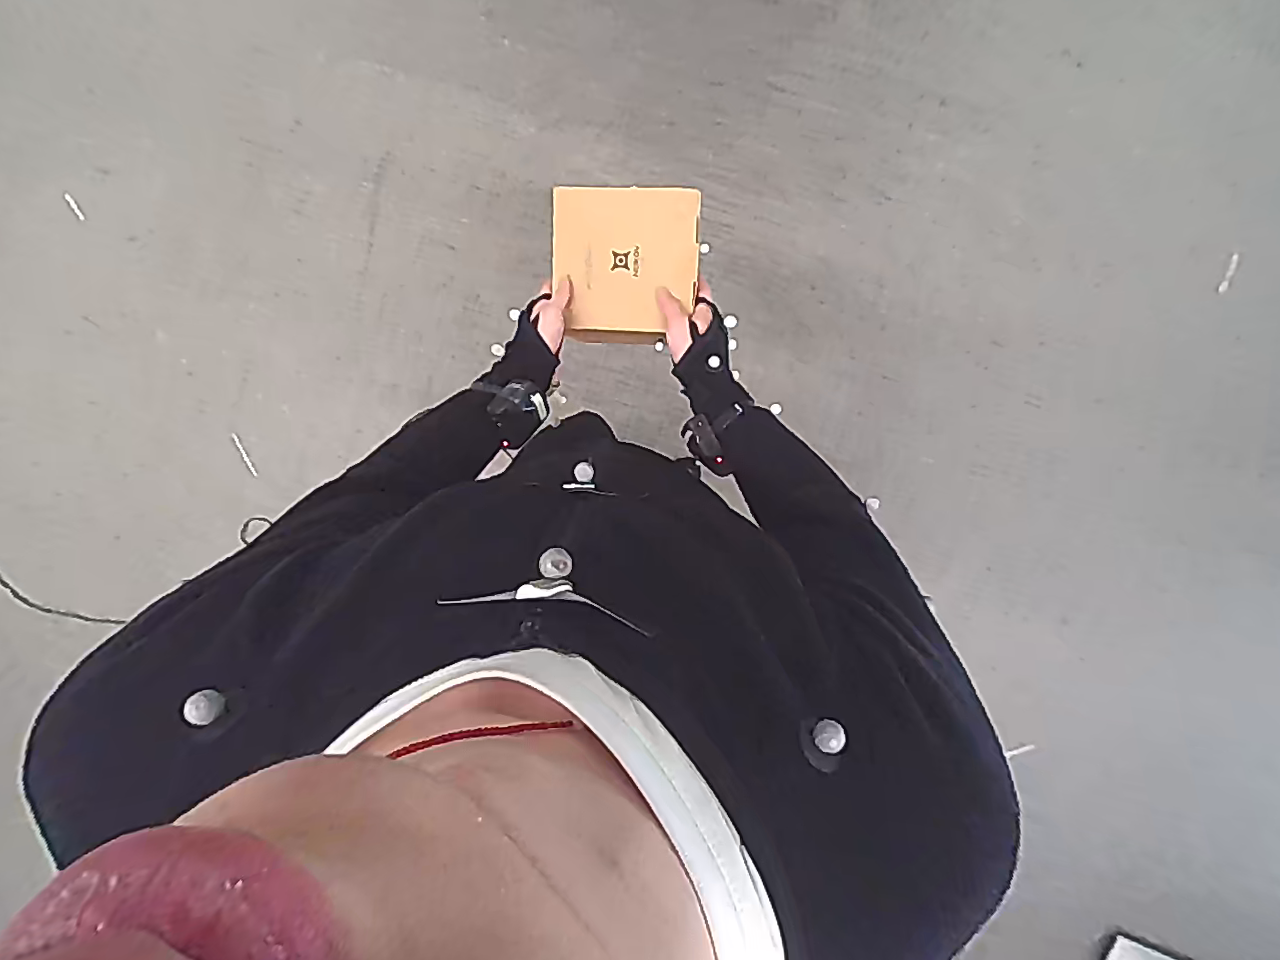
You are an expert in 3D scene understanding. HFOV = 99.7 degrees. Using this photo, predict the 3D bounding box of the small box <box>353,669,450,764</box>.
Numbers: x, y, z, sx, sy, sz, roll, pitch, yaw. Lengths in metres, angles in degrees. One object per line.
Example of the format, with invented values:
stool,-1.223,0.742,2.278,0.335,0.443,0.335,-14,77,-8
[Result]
small box,-0.681,0.674,1.565,0.179,0.176,0.168,23,93,1

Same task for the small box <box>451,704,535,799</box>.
small box,-0.410,0.770,1.552,0.179,0.176,0.168,-15,94,3
